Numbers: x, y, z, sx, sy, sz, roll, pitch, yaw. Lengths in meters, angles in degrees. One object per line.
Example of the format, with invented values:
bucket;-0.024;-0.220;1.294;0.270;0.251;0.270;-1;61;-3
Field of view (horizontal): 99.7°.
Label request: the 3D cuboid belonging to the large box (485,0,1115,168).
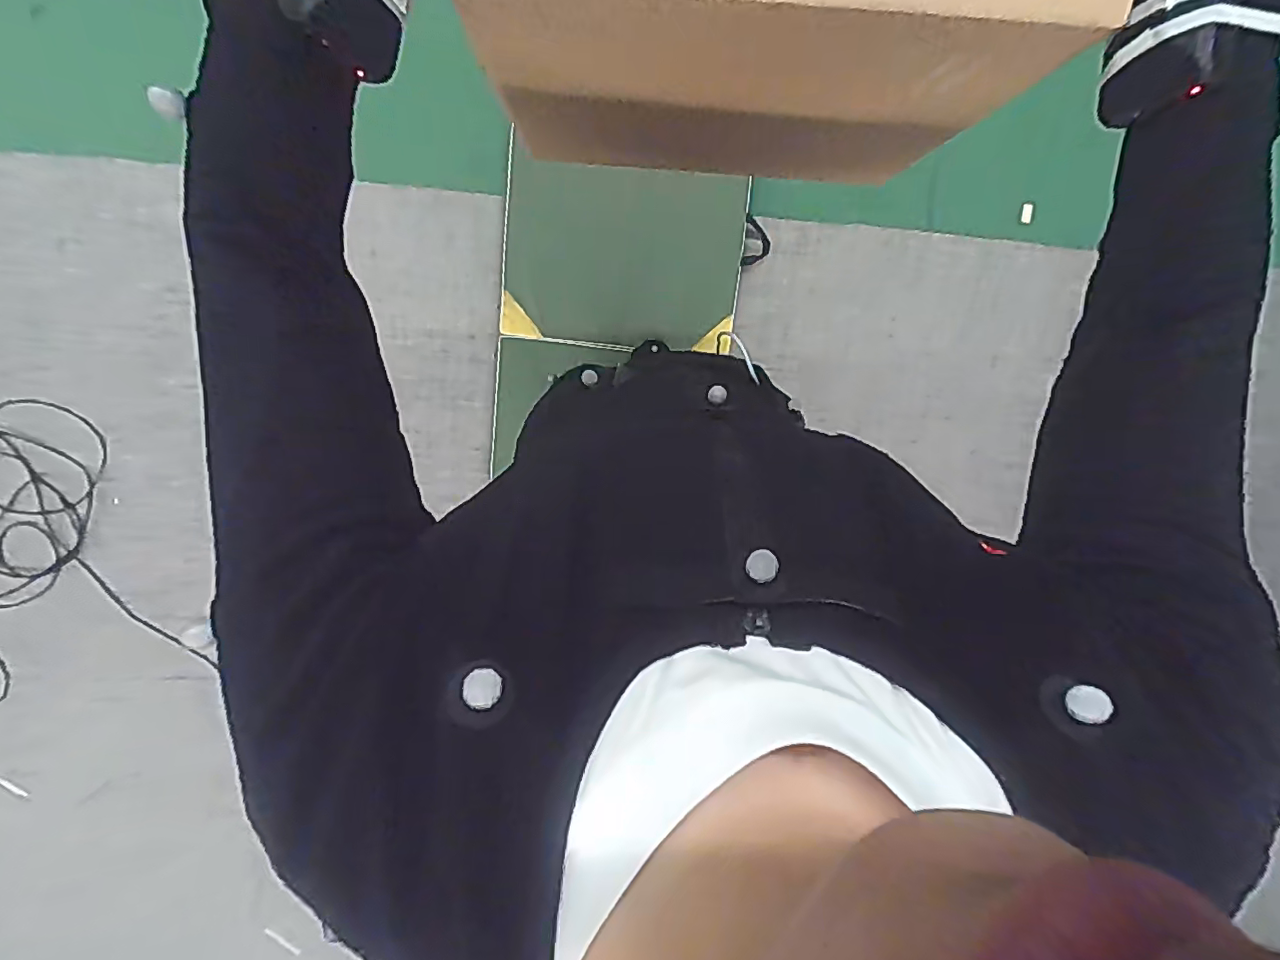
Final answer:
large box;0.094;-0.474;0.435;0.408;0.320;0.320;2;104;-3
